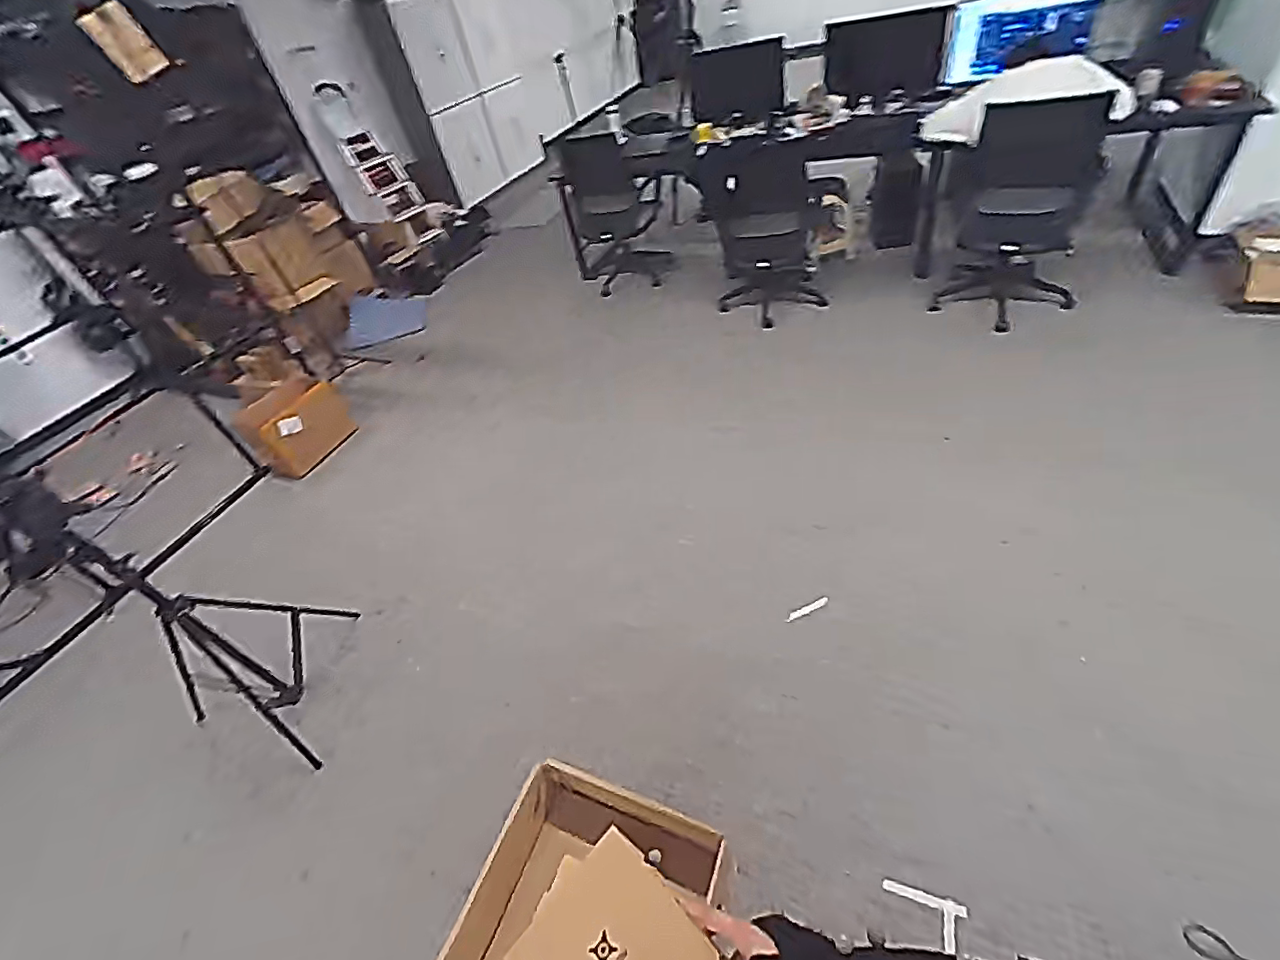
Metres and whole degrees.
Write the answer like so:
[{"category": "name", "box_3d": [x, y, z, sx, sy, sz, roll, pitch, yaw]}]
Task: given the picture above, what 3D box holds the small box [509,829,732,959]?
[{"category": "small box", "box_3d": [-0.003, 0.536, 0.582, 0.168, 0.176, 0.179, -41, 41, -23]}]
